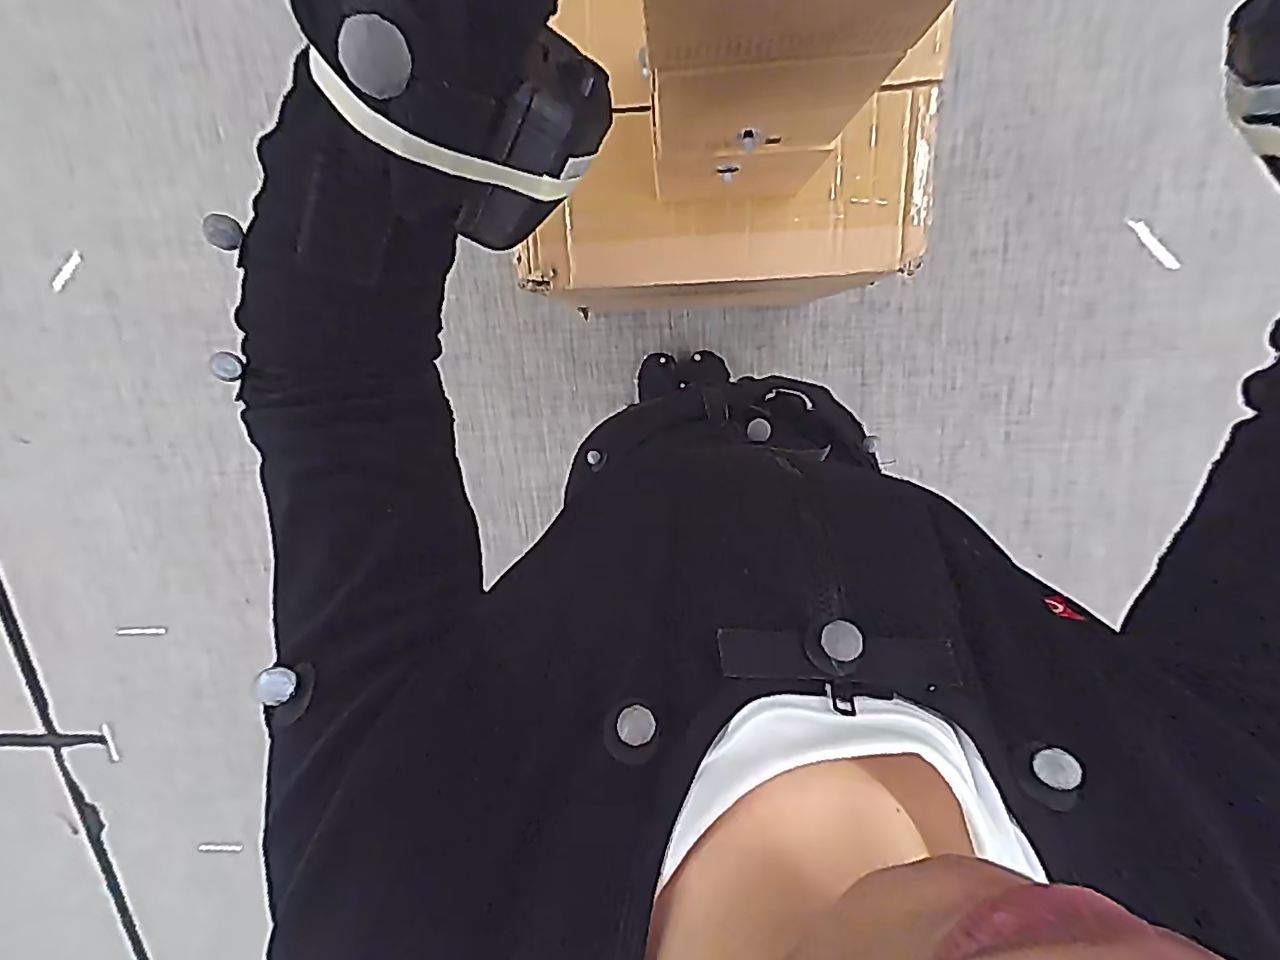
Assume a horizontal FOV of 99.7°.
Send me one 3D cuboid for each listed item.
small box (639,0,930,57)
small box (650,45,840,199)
[{"bbox_3d":[0.082,-0.336,0.253,0.179,0.176,0.168,-2,104,4],"label":"small box"},{"bbox_3d":[0.101,-0.410,0.574,0.179,0.176,0.168,-2,104,4],"label":"small box"}]
